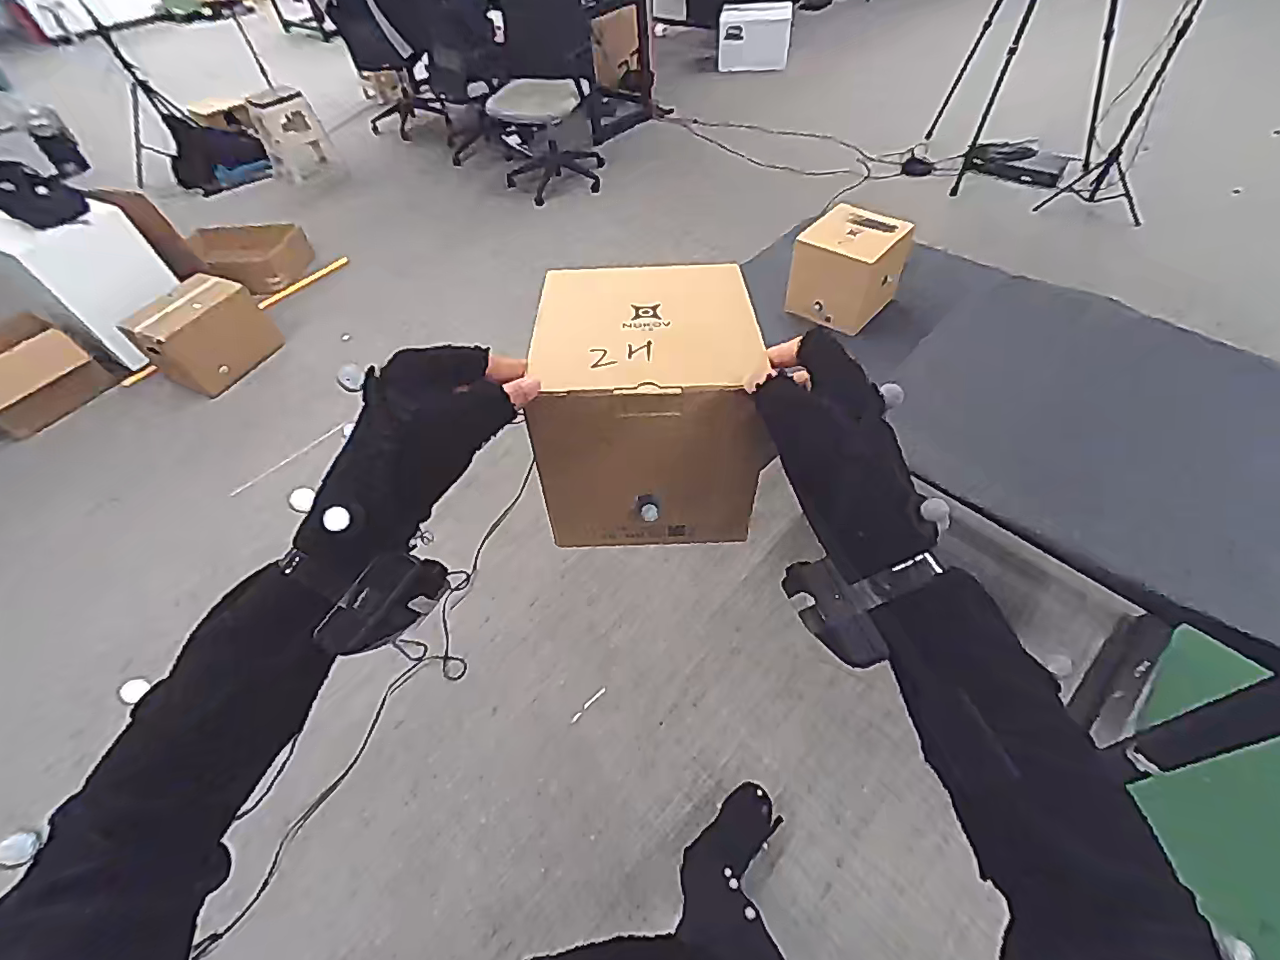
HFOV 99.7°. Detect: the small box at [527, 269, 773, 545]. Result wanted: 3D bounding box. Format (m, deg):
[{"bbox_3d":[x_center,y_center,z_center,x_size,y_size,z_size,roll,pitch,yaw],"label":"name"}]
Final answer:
[{"bbox_3d":[0.008,-0.063,0.468,0.168,0.176,0.179,-1,47,1],"label":"small box"}]
